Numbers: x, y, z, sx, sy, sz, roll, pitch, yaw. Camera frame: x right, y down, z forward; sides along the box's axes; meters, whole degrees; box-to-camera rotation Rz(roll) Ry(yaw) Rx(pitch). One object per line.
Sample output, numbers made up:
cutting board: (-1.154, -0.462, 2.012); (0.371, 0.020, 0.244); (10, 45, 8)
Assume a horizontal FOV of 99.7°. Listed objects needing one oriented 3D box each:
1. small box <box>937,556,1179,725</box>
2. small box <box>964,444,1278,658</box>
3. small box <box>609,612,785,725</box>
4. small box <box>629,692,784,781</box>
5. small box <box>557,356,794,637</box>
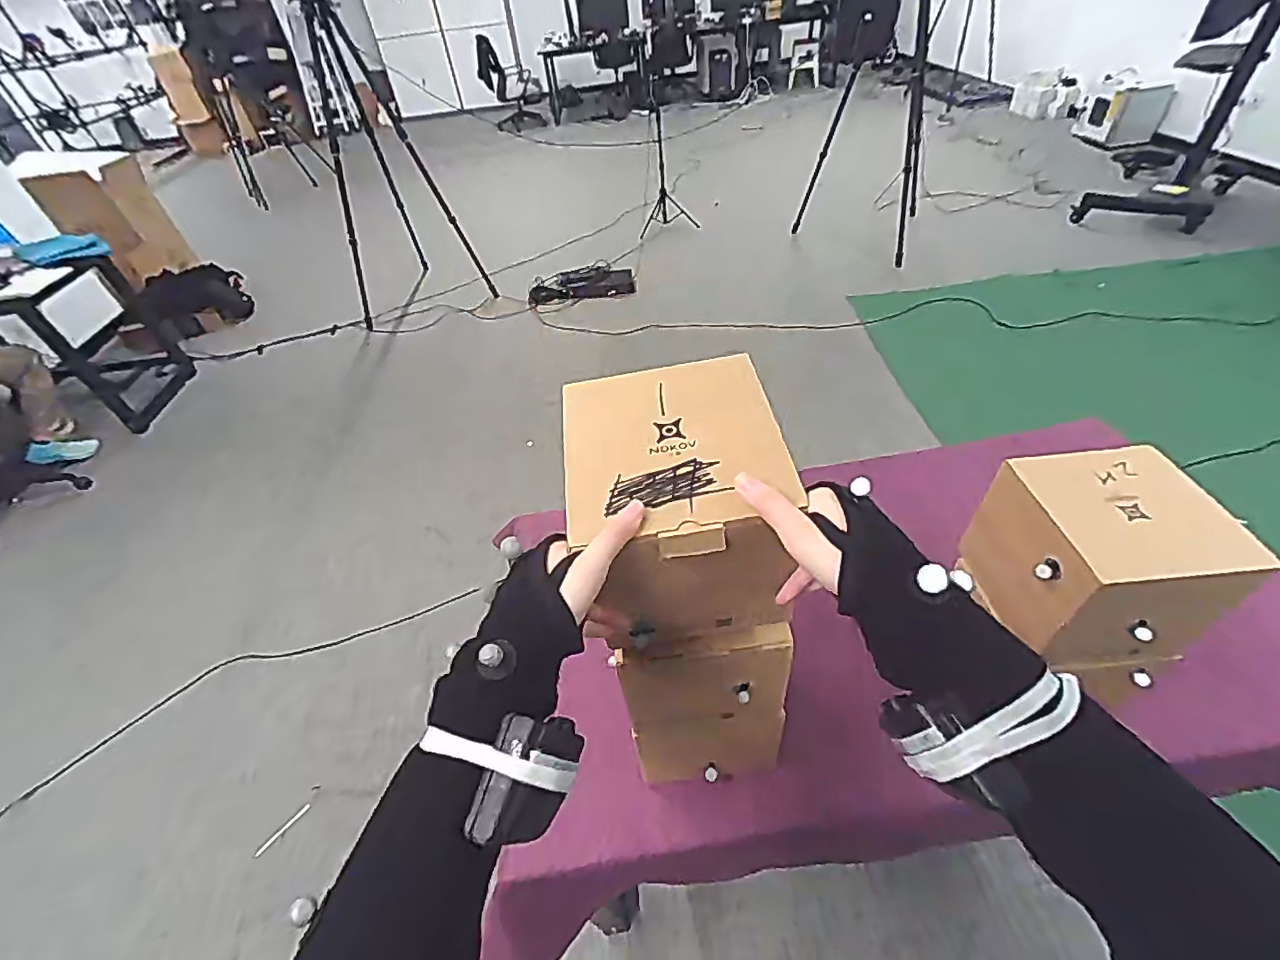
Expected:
small box: (0.523, 0.206, 0.717); (0.179, 0.176, 0.168); (-7, 44, 1)
small box: (0.504, 0.085, 0.607); (0.168, 0.176, 0.179); (-5, 44, 2)
small box: (0.058, 0.157, 0.605); (0.168, 0.176, 0.179); (-7, 43, 2)
small box: (0.076, 0.276, 0.715); (0.179, 0.176, 0.168); (-8, 44, 0)
small box: (0.028, 0.022, 0.475); (0.168, 0.176, 0.179); (-10, 48, 2)
